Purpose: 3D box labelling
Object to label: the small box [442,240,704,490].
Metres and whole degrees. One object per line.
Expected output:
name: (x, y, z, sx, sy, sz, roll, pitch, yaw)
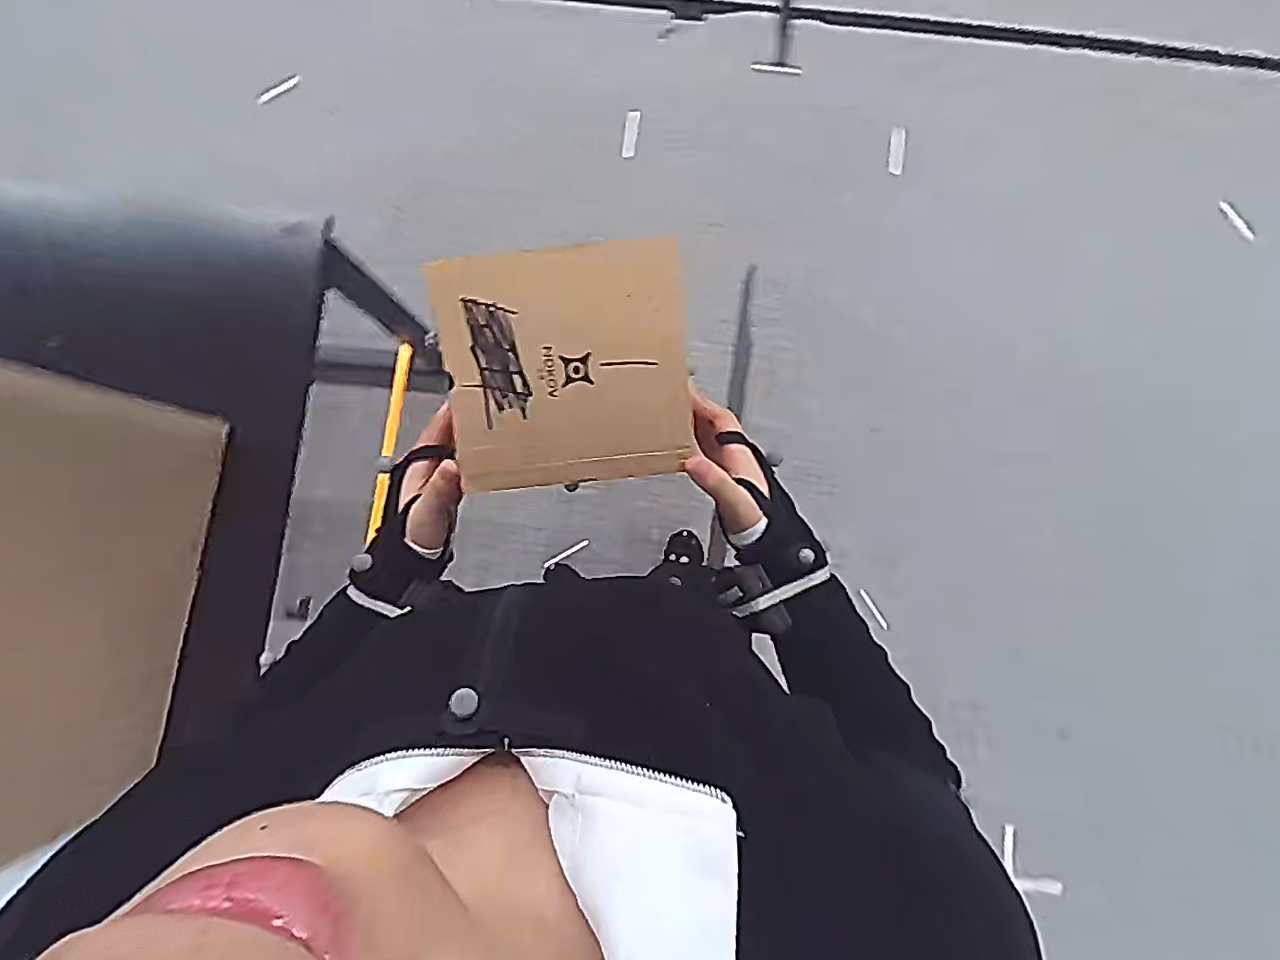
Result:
small box: (-0.043, -0.092, 0.460, 0.179, 0.176, 0.168, -5, 101, 2)
